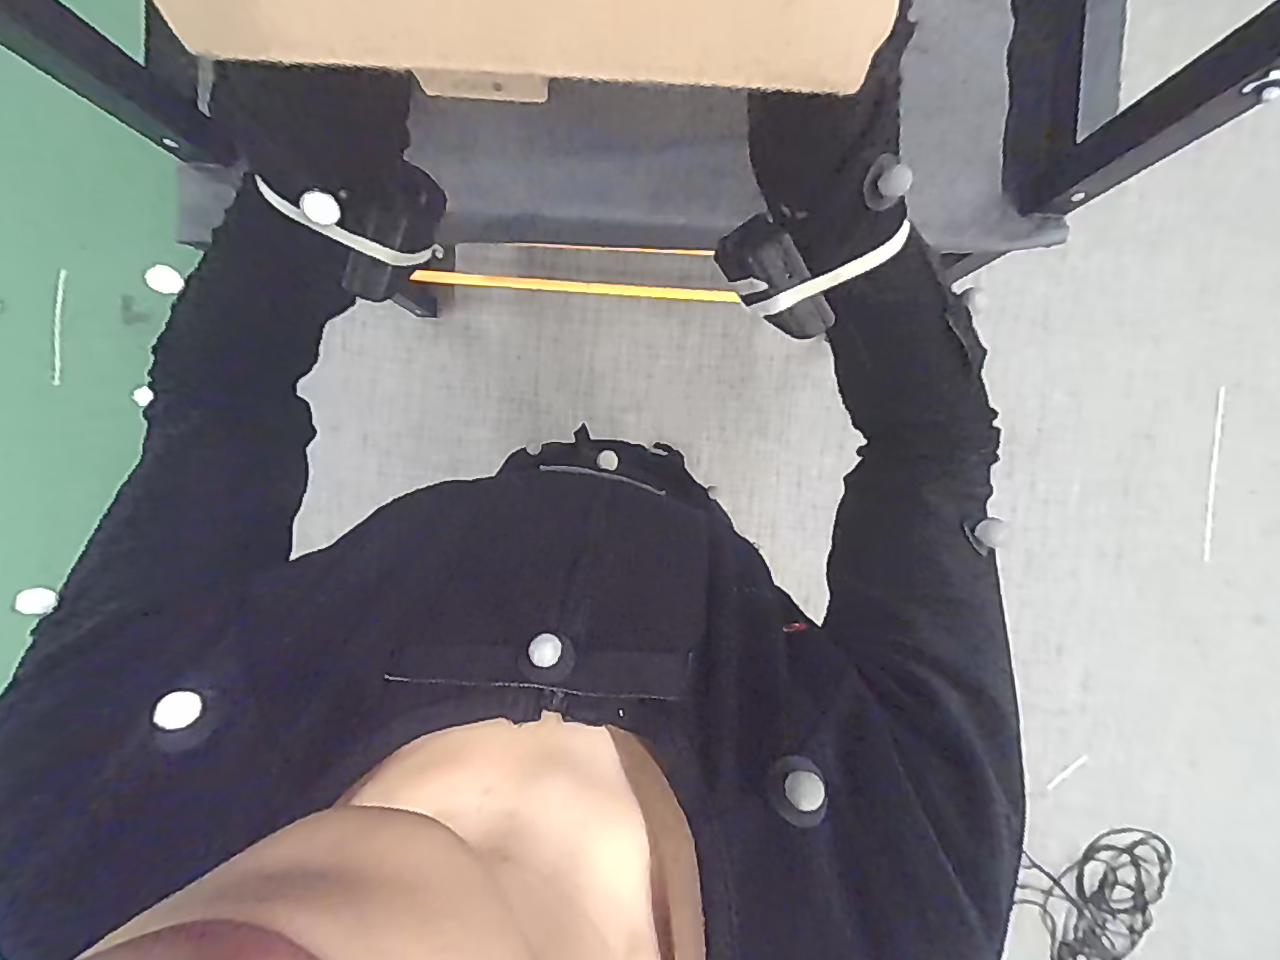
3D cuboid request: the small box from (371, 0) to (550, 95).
[{"bbox_3d":[-0.204,-0.601,0.645,0.168,0.176,0.179,3,92,0],"label":"small box"}]
